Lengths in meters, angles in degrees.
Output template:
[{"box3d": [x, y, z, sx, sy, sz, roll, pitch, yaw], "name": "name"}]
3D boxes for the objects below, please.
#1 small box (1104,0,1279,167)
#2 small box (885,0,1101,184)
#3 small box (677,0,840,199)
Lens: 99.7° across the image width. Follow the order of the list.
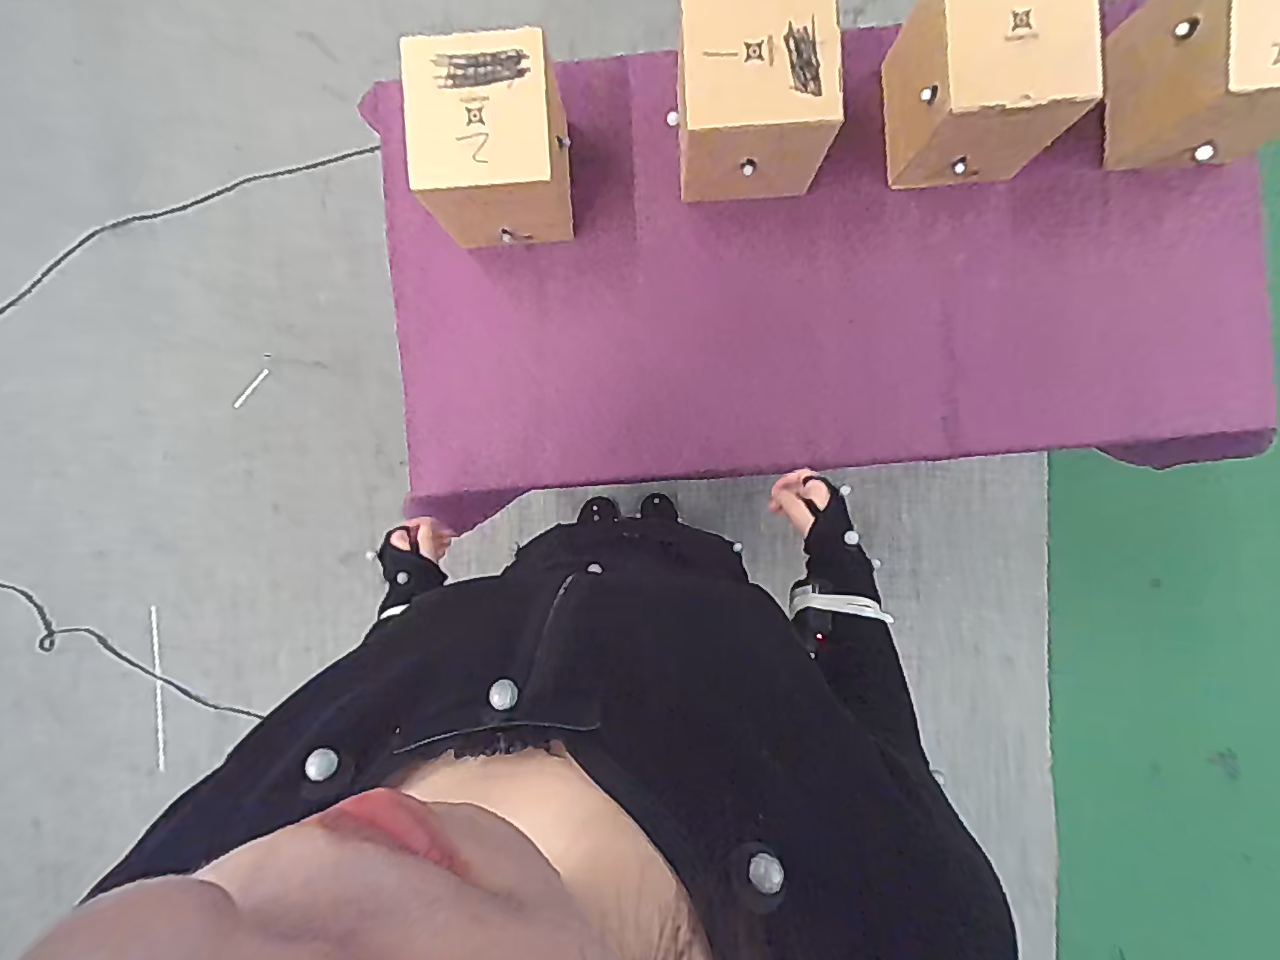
[{"box3d": [0.707, -0.510, 0.649, 0.168, 0.176, 0.179, -1, 94, 4], "name": "small box"}, {"box3d": [0.419, -0.501, 0.669, 0.168, 0.176, 0.179, -4, 92, 3], "name": "small box"}, {"box3d": [0.138, -0.479, 0.682, 0.179, 0.176, 0.168, -2, 91, 4], "name": "small box"}]
